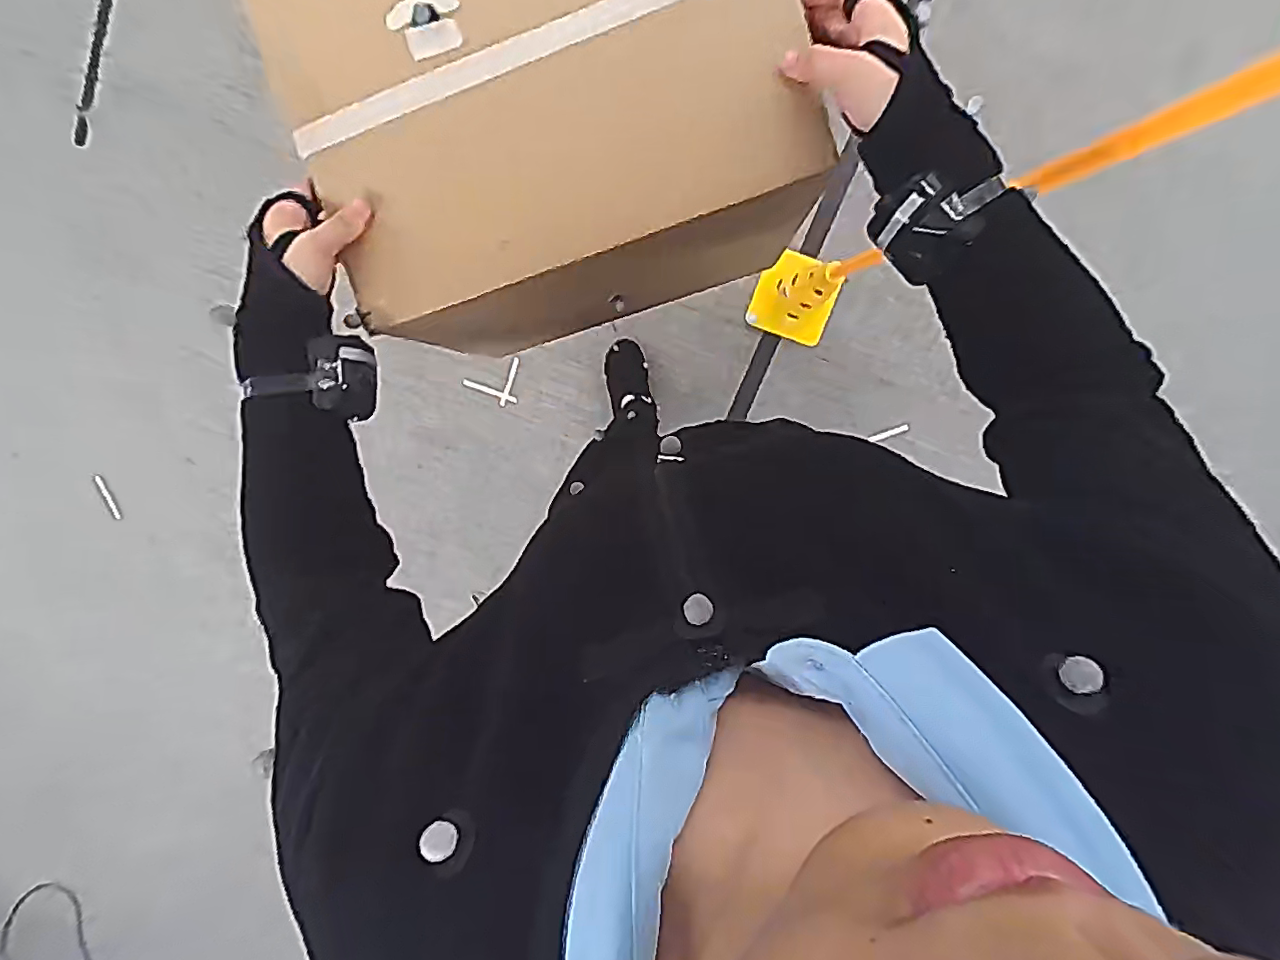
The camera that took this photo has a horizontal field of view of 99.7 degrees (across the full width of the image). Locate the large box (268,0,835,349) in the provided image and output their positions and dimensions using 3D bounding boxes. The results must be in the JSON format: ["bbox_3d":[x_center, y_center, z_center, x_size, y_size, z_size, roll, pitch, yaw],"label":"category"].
[{"bbox_3d":[-0.063,-0.359,0.575,0.408,0.320,0.320,-17,96,8],"label":"large box"}]
